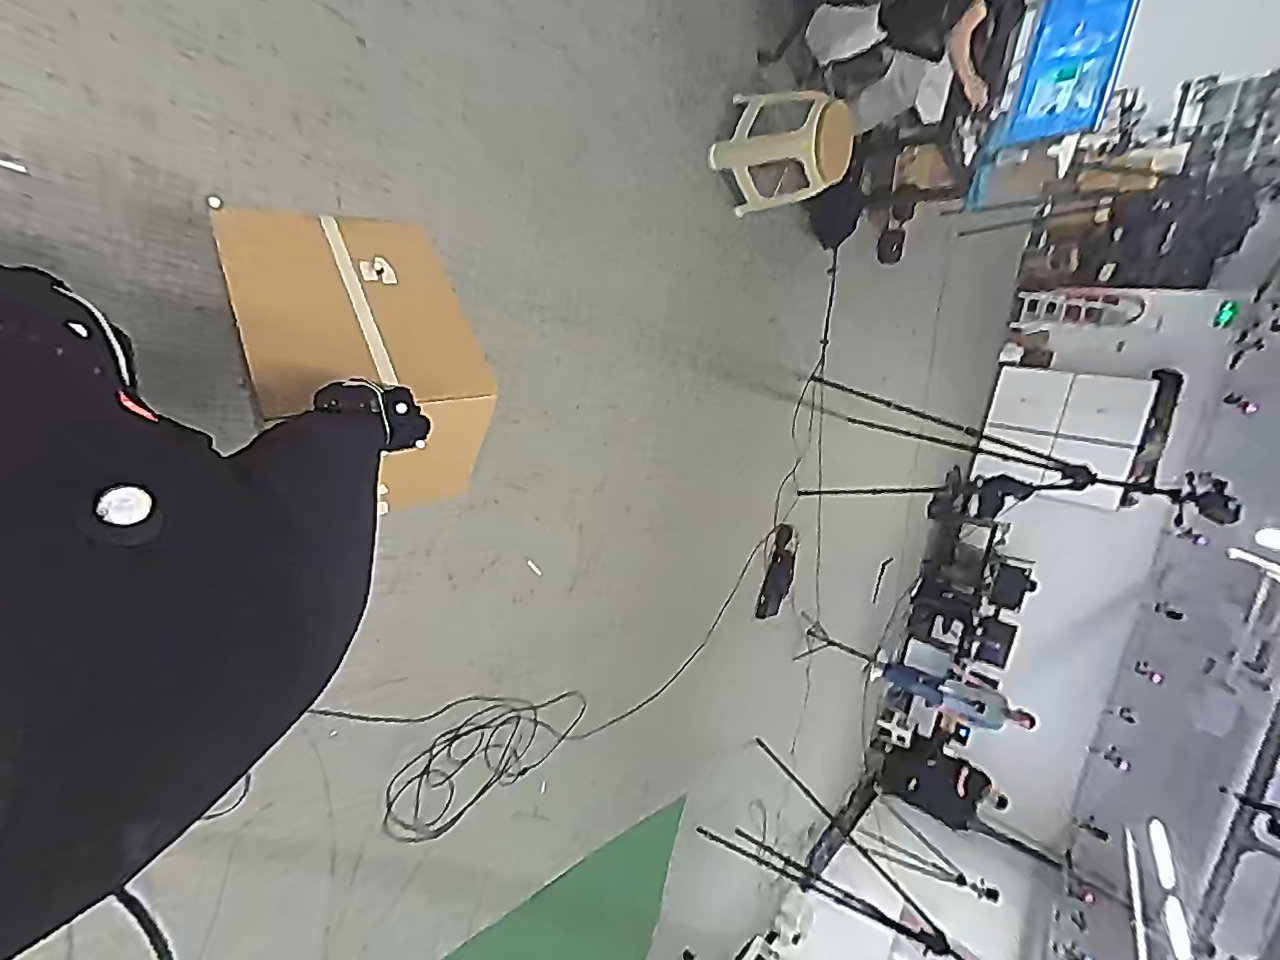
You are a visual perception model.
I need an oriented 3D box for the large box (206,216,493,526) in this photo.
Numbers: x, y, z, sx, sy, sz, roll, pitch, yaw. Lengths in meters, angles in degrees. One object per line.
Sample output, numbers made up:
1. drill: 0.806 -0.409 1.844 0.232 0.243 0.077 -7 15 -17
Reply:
1. large box: -0.501 -0.190 0.948 0.320 0.408 0.320 -14 155 -36
